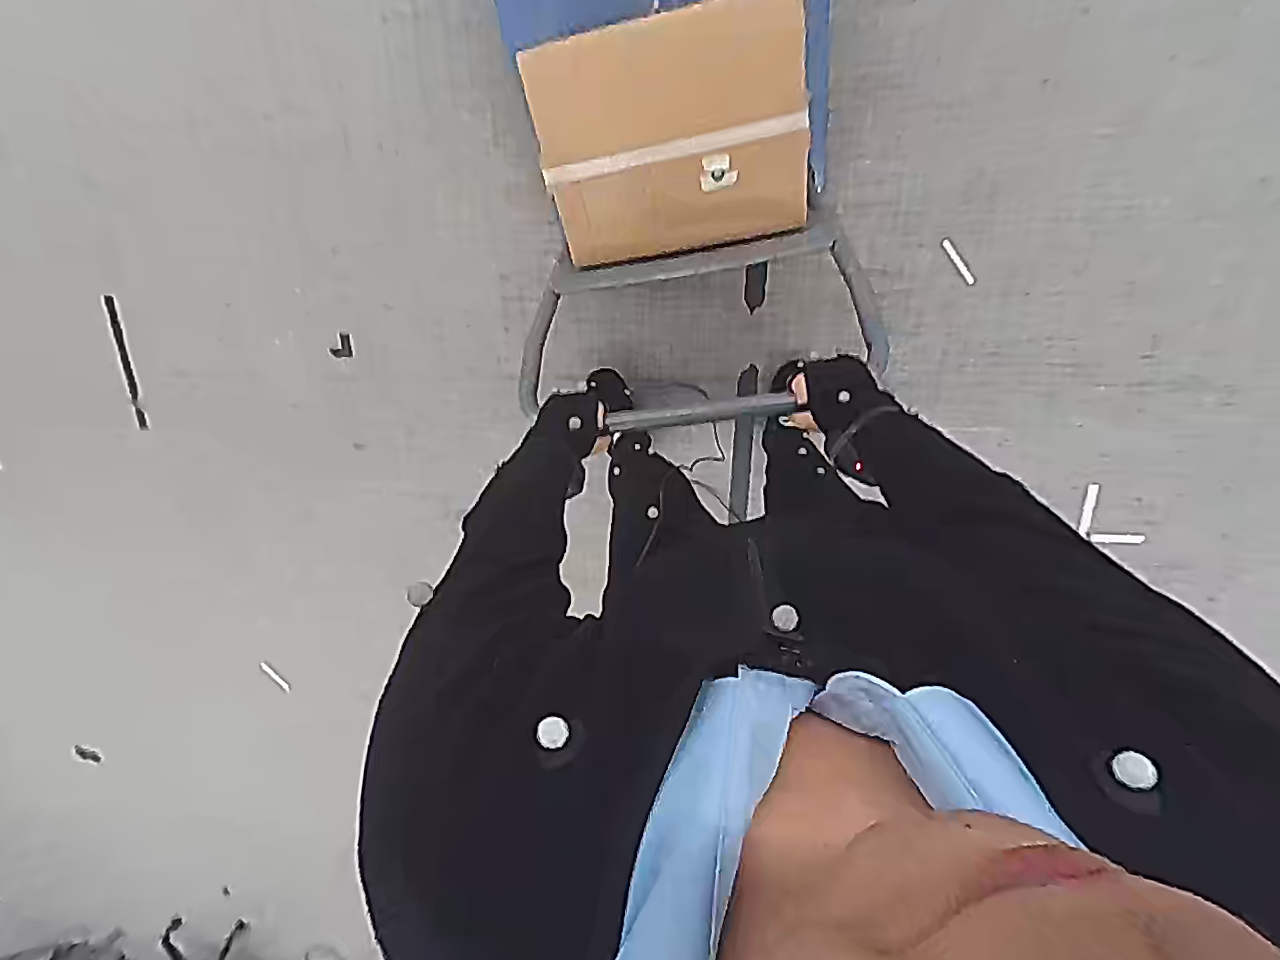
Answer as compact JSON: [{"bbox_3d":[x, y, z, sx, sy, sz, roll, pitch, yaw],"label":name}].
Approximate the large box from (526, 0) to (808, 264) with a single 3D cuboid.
[{"bbox_3d":[0.062,-0.626,0.959,0.408,0.320,0.320,-7,131,10],"label":"large box"}]
